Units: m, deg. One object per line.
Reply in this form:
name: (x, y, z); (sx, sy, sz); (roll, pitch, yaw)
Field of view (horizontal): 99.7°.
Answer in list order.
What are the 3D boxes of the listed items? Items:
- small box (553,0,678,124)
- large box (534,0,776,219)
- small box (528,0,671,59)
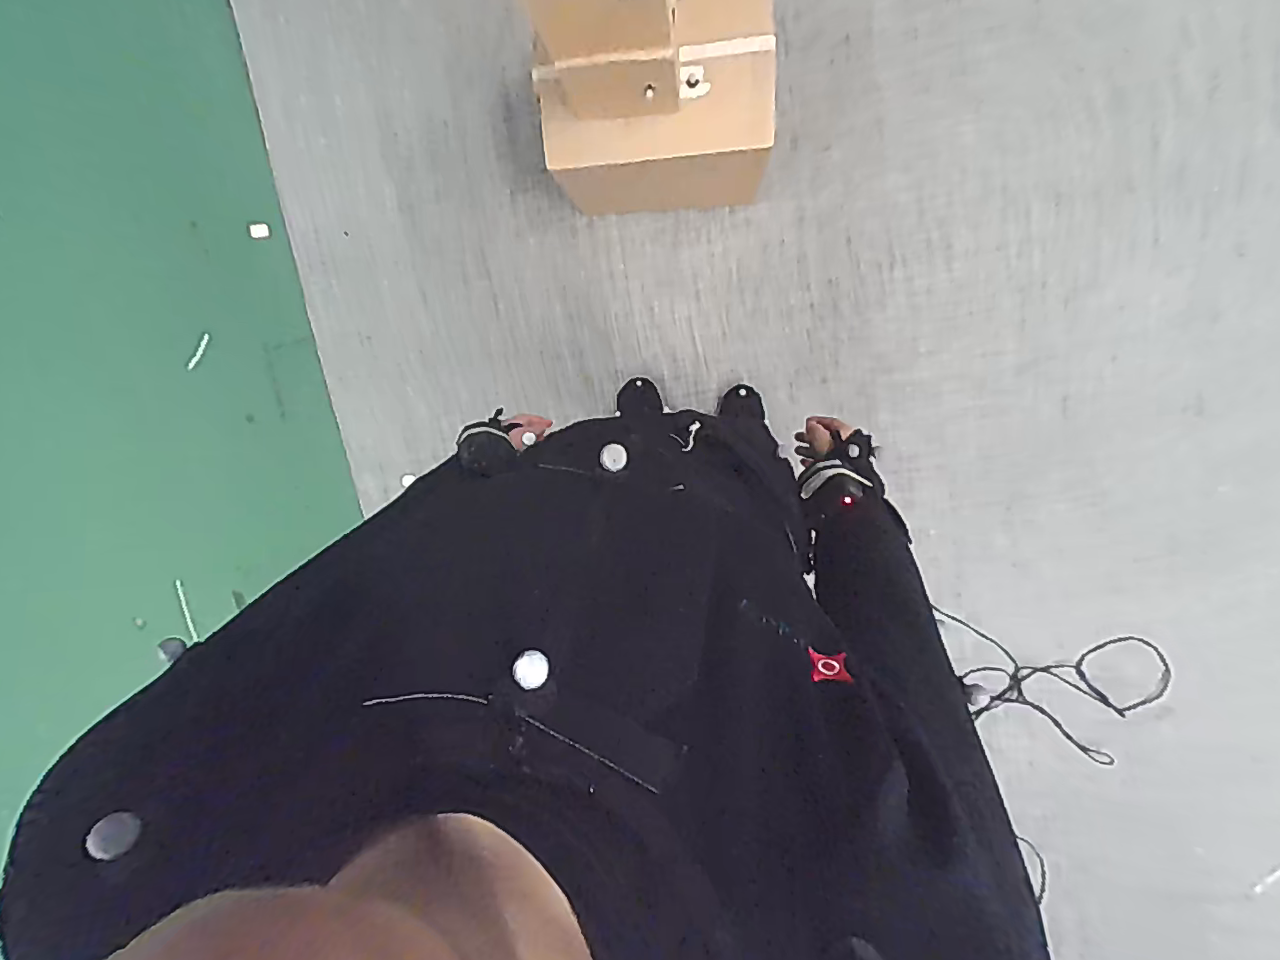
small box: (-0.031, -0.679, 0.830); (0.179, 0.176, 0.168); (-1, 100, 8)
large box: (0.036, -0.734, 1.059); (0.408, 0.320, 0.320); (-3, 102, 6)
small box: (-0.056, -0.662, 0.669); (0.179, 0.176, 0.168); (-2, 100, 6)
